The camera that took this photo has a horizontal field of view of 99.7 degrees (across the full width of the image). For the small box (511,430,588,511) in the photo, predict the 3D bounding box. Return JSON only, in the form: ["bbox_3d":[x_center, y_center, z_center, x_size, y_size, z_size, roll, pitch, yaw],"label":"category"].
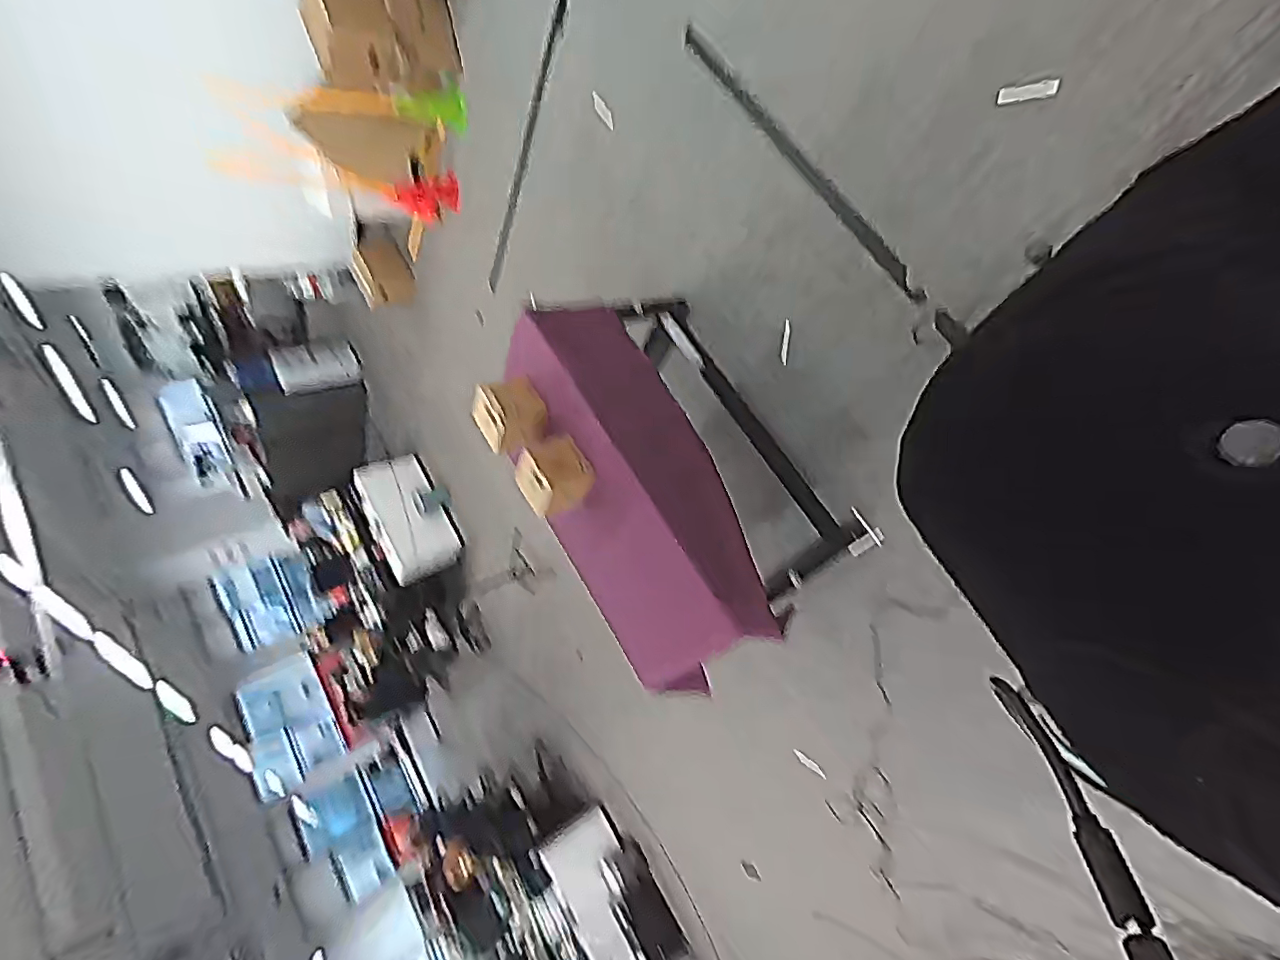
[{"bbox_3d":[-0.289,-0.035,1.737,0.168,0.176,0.179,54,142,19],"label":"small box"}]
